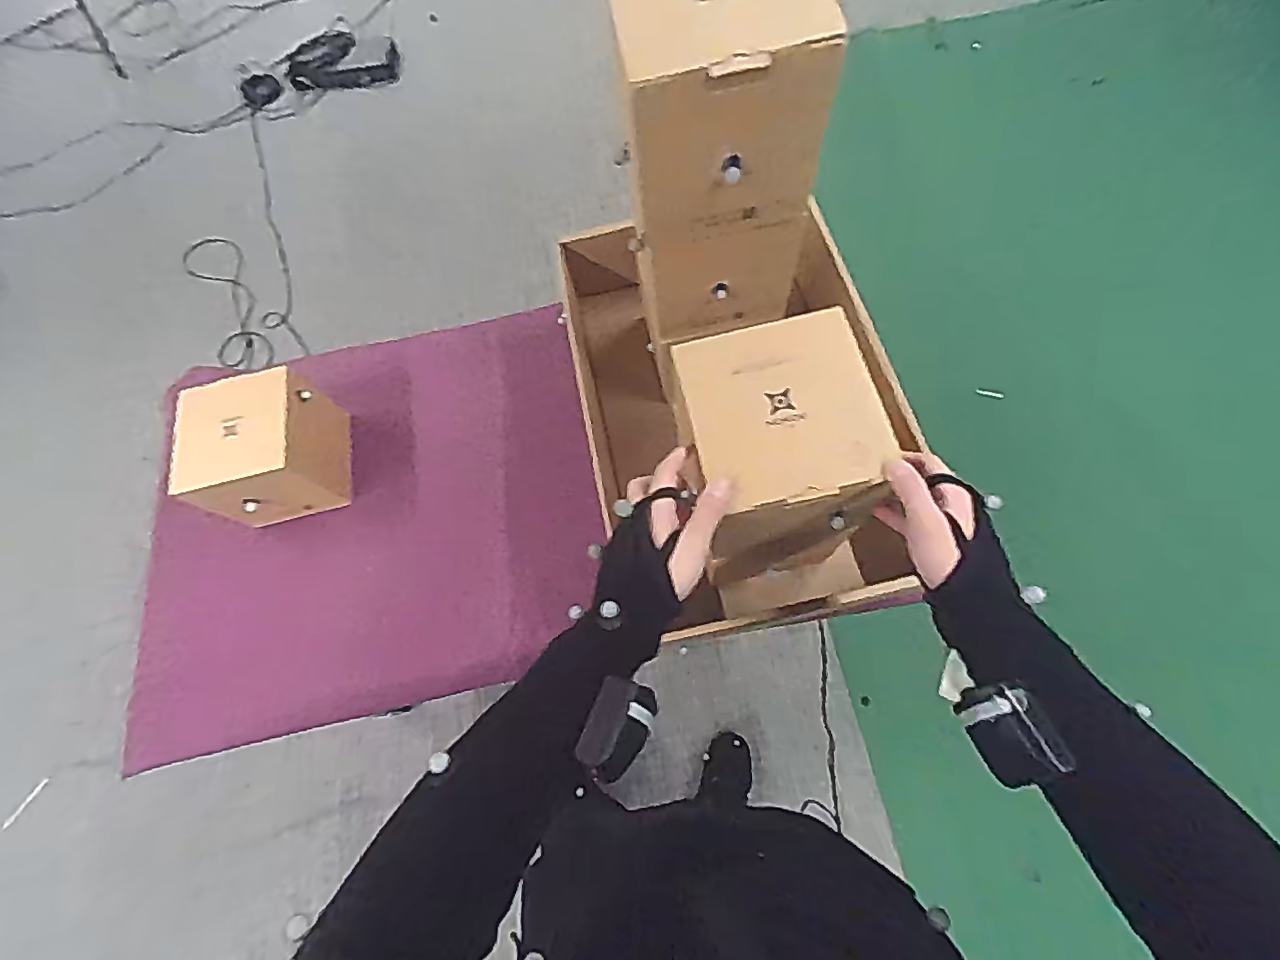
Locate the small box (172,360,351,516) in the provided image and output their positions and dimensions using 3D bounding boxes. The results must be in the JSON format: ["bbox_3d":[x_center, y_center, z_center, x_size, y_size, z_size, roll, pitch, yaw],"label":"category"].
[{"bbox_3d":[-0.578,-0.055,0.850,0.168,0.176,0.179,-14,67,-1],"label":"small box"}]

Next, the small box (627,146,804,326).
[{"bbox_3d":[0.084,-0.307,0.656,0.168,0.176,0.179,-10,69,1],"label":"small box"}]

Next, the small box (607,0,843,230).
[{"bbox_3d":[0.067,-0.360,0.503,0.168,0.176,0.179,-10,71,2],"label":"small box"}]
